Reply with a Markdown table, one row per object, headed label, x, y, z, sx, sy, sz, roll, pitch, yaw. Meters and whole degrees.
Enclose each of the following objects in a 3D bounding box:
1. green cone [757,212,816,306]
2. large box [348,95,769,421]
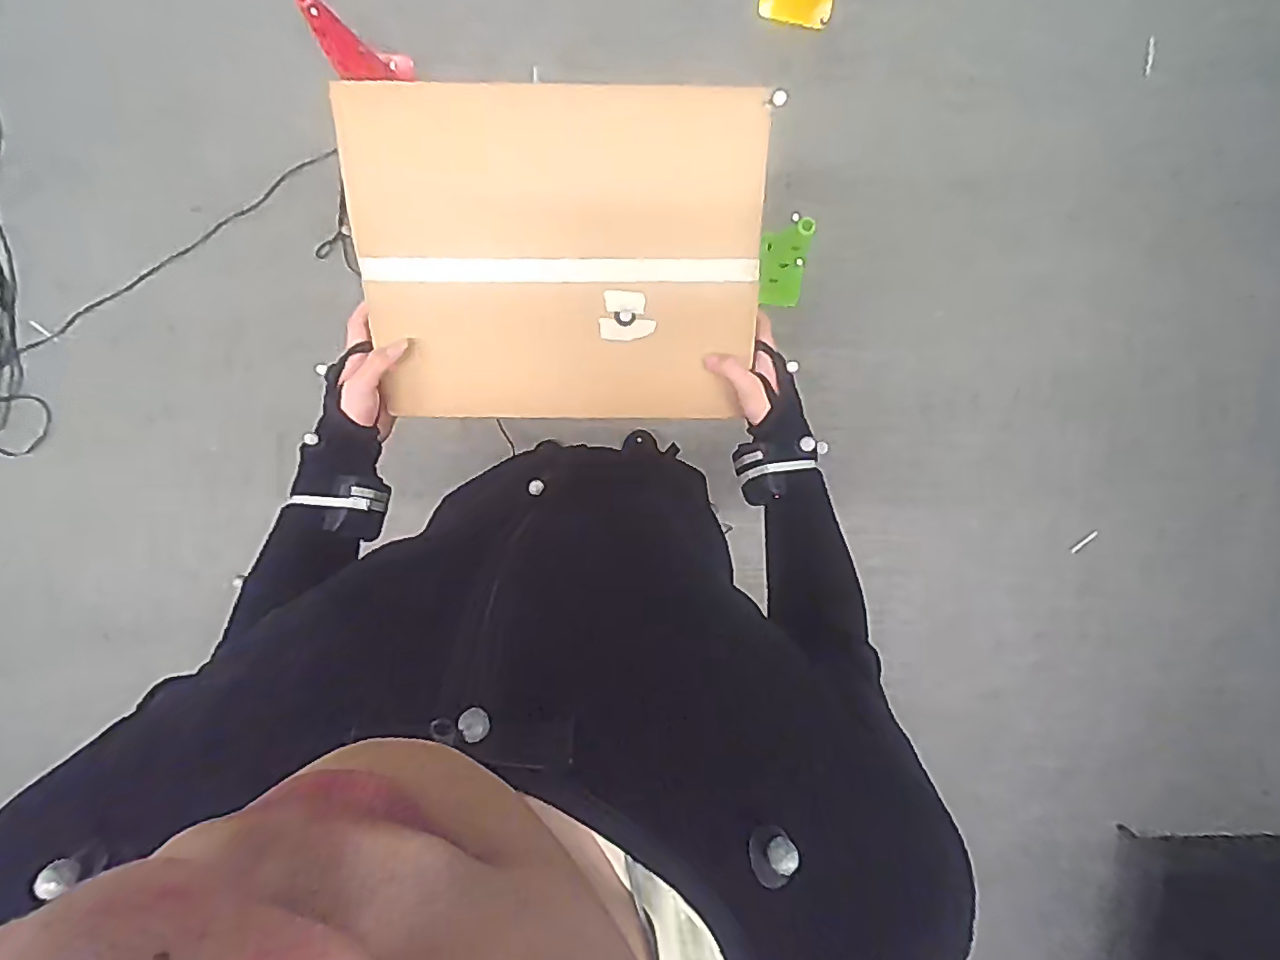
| label | x | y | z | sx | sy | sz | roll | pitch | yaw |
| --- | --- | --- | --- | --- | --- | --- | --- | --- | --- |
| green cone | 0.377 | -0.599 | 1.400 | 0.200 | 0.368 | 0.202 | 6 | 95 | -3 |
| large box | -0.079 | -0.269 | 0.698 | 0.408 | 0.320 | 0.320 | -1 | 113 | -1 |
